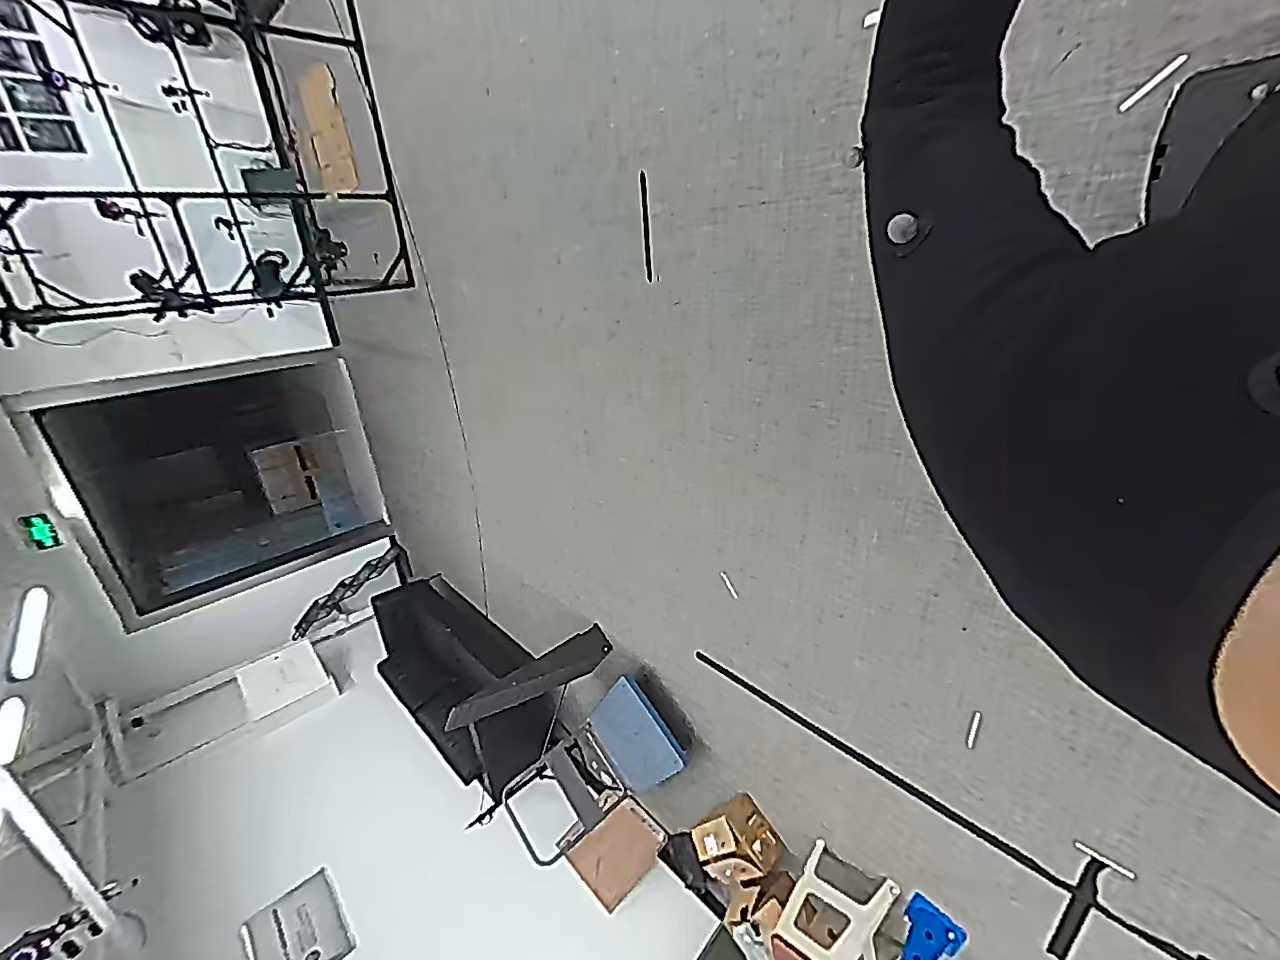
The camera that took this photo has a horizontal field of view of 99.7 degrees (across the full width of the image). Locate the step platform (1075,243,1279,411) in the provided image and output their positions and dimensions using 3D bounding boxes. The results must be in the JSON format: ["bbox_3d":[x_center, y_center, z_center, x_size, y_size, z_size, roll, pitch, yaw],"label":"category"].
[{"bbox_3d":[1.193,-0.266,0.931,0.684,0.204,0.286,19,122,46],"label":"step platform"}]
